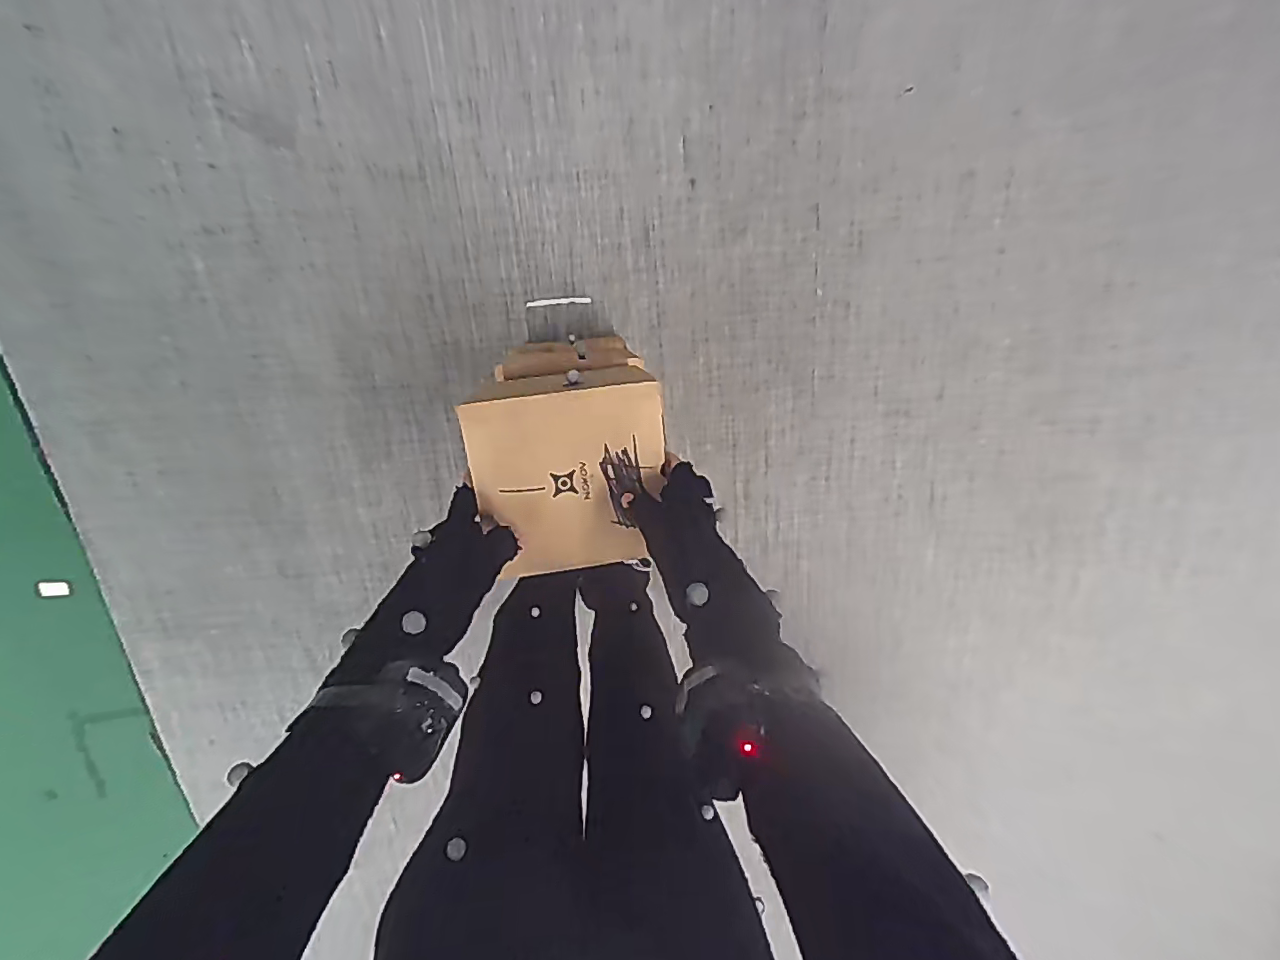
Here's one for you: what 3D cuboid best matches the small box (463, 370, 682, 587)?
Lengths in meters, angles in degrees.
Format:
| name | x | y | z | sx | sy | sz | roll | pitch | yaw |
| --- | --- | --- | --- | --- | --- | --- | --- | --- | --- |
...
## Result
| name | x | y | z | sx | sy | sz | roll | pitch | yaw |
| --- | --- | --- | --- | --- | --- | --- | --- | --- | --- |
| small box | -0.068 | -0.015 | 0.563 | 0.179 | 0.176 | 0.168 | -11 | 108 | -5 |

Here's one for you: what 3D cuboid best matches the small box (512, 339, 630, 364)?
| name | x | y | z | sx | sy | sz | roll | pitch | yaw |
| --- | --- | --- | --- | --- | --- | --- | --- | --- | --- |
| small box | -0.103 | -0.138 | 0.889 | 0.179 | 0.176 | 0.168 | -6 | 108 | -2 |

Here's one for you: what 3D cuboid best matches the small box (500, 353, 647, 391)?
| name | x | y | z | sx | sy | sz | roll | pitch | yaw |
| --- | --- | --- | --- | --- | --- | --- | --- | --- | --- |
| small box | -0.087 | -0.082 | 0.736 | 0.179 | 0.176 | 0.168 | -3 | 108 | -6 |
